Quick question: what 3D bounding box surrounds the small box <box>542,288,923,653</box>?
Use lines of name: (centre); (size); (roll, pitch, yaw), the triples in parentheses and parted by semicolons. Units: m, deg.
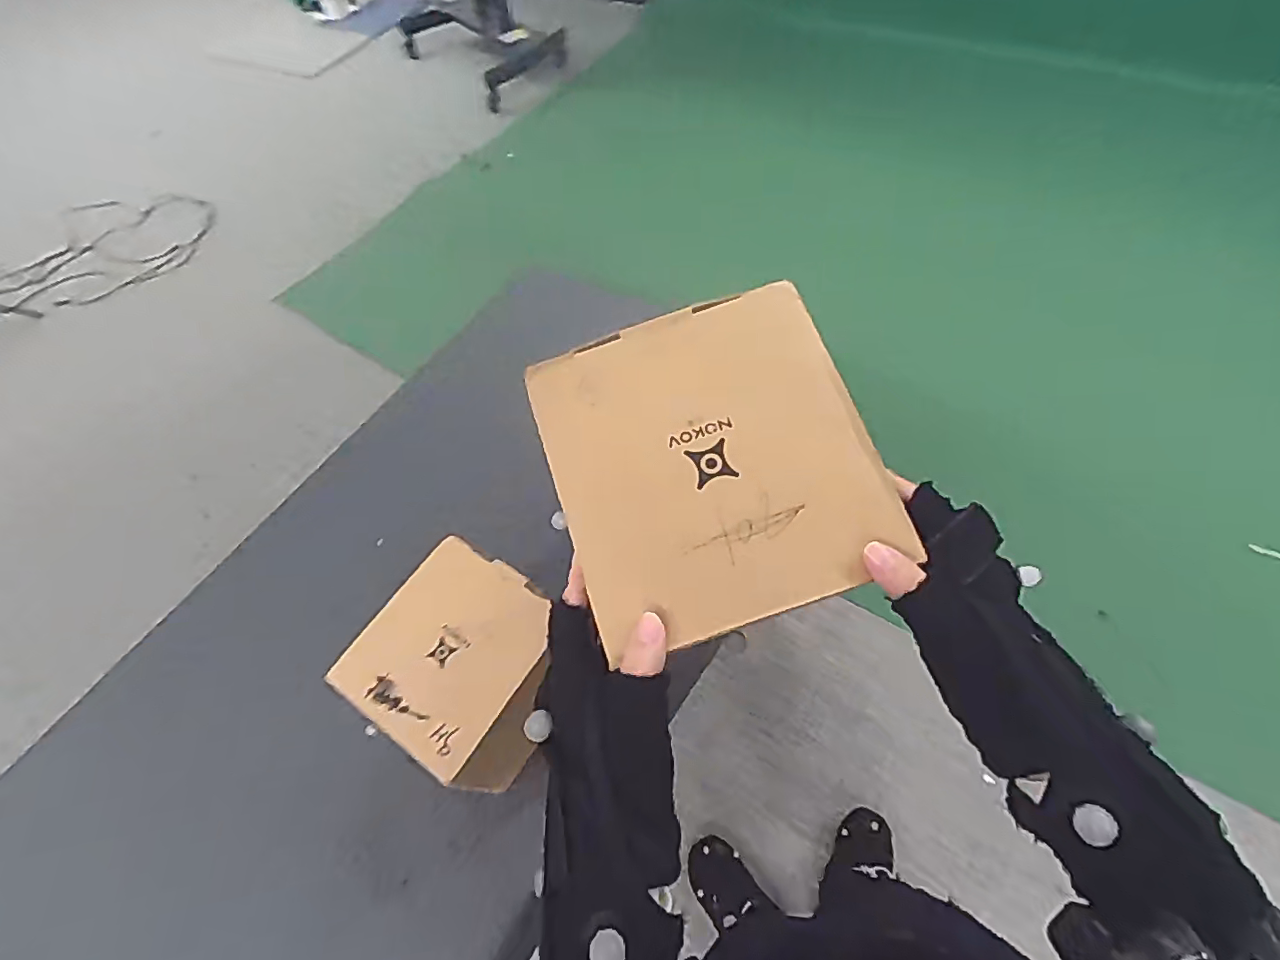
small box: (0.048, 0.009, 0.373); (0.168, 0.176, 0.179); (-18, 74, 0)

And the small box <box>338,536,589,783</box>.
small box: (-0.171, 0.199, 0.590); (0.168, 0.176, 0.179); (28, 64, 21)
